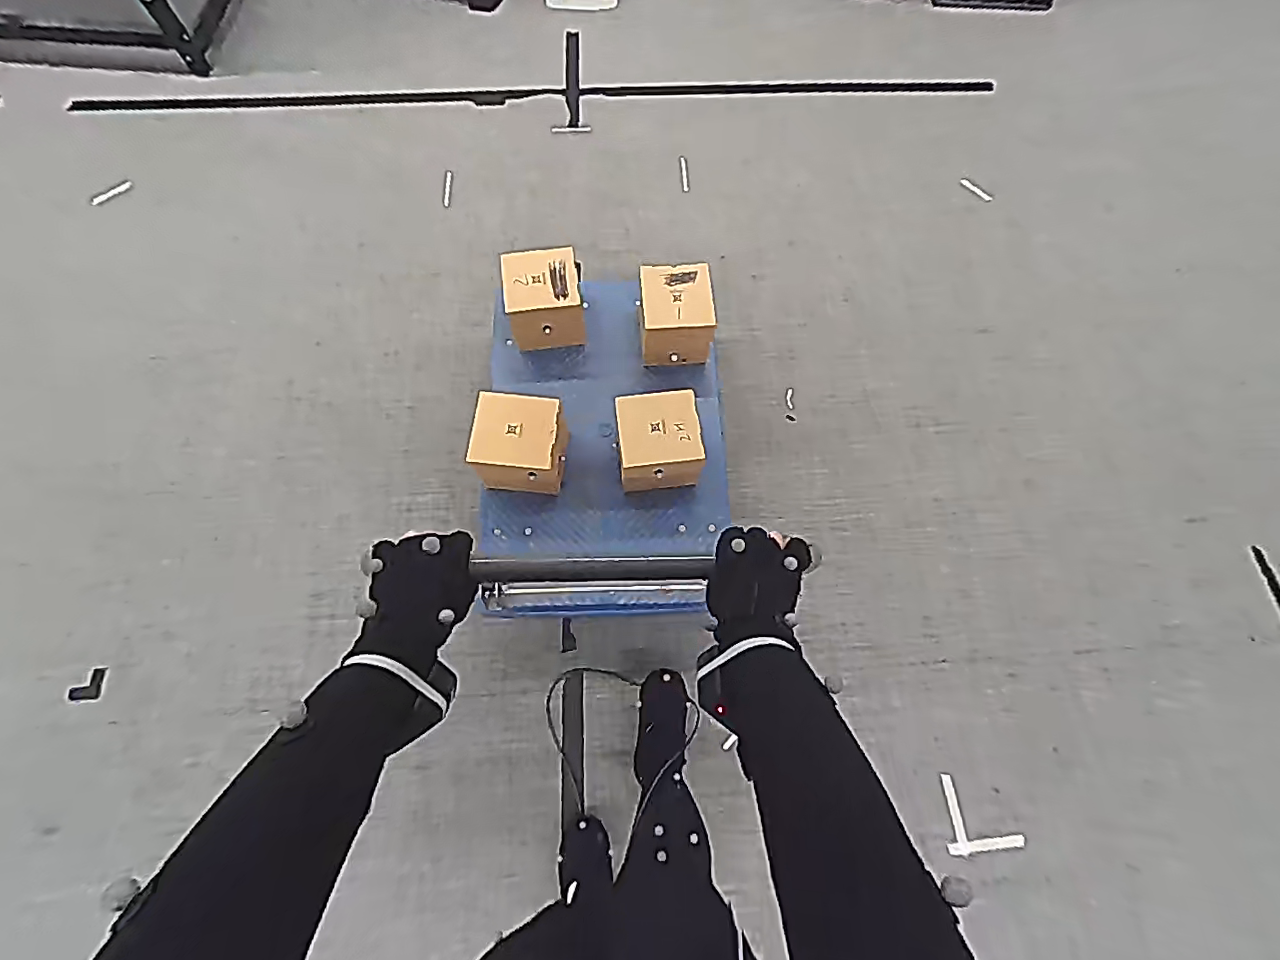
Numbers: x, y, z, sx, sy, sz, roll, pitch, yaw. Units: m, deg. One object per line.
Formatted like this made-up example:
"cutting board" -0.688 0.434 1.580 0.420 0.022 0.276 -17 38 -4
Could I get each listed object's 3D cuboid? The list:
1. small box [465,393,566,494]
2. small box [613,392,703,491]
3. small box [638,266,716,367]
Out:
"small box" -0.268 -0.076 1.203 0.179 0.176 0.168 6 70 -2
"small box" 0.037 -0.080 1.213 0.179 0.176 0.168 -6 71 -3
"small box" 0.084 -0.397 1.324 0.168 0.176 0.179 -3 72 -3
